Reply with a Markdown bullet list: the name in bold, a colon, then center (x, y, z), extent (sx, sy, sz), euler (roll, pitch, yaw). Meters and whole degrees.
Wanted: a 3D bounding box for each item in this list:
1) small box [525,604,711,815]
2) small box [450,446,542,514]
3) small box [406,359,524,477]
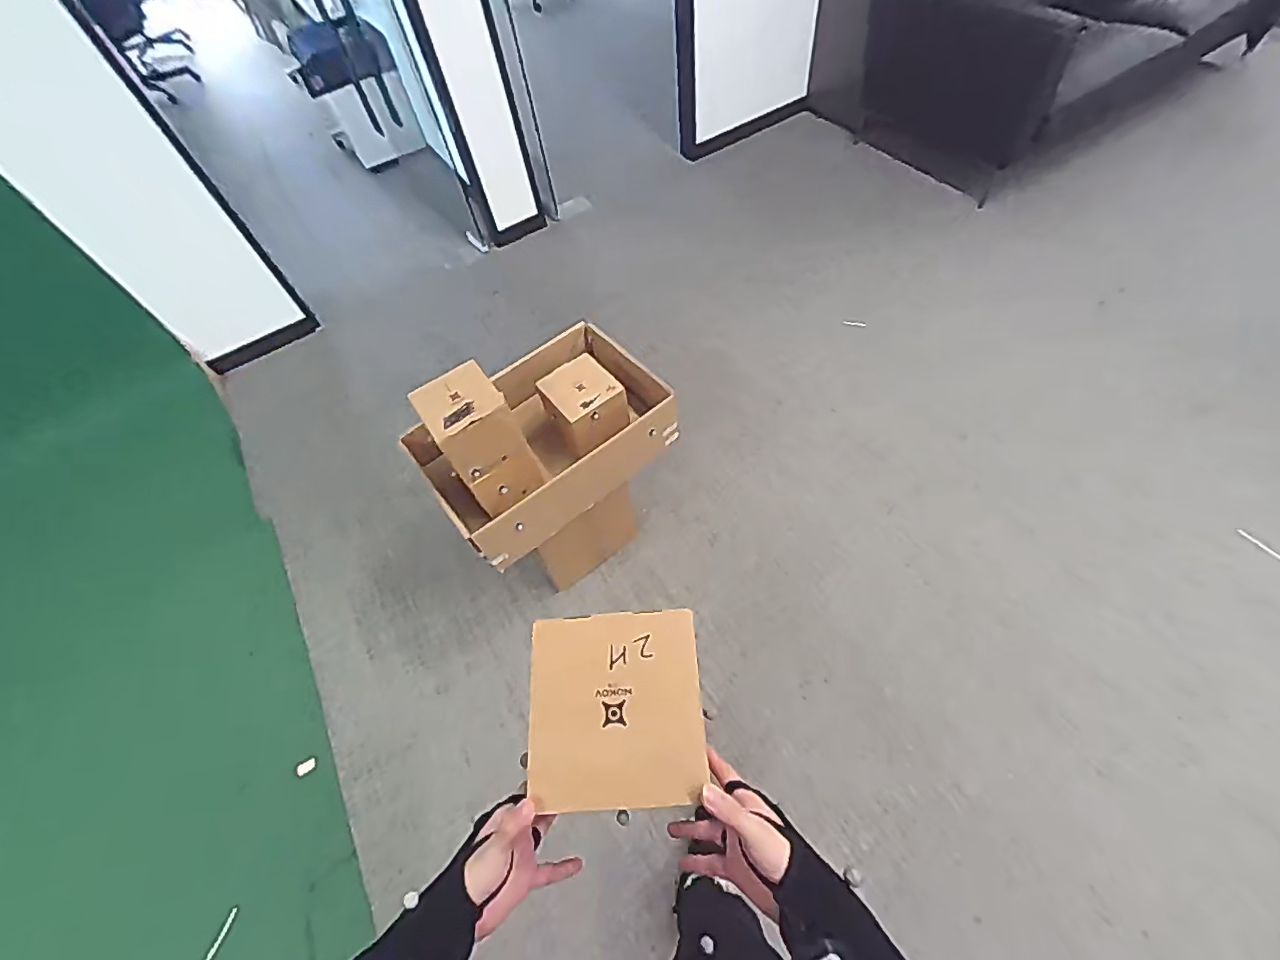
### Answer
- **small box**: center (-0.016, 0.243, 0.571), extent (0.168, 0.176, 0.179), euler (-4, 60, 2)
- **small box**: center (-0.369, -0.038, 1.346), extent (0.168, 0.176, 0.179), euler (-36, 60, -16)
- **small box**: center (-0.384, -0.129, 1.210), extent (0.168, 0.176, 0.179), euler (-32, 58, -14)
